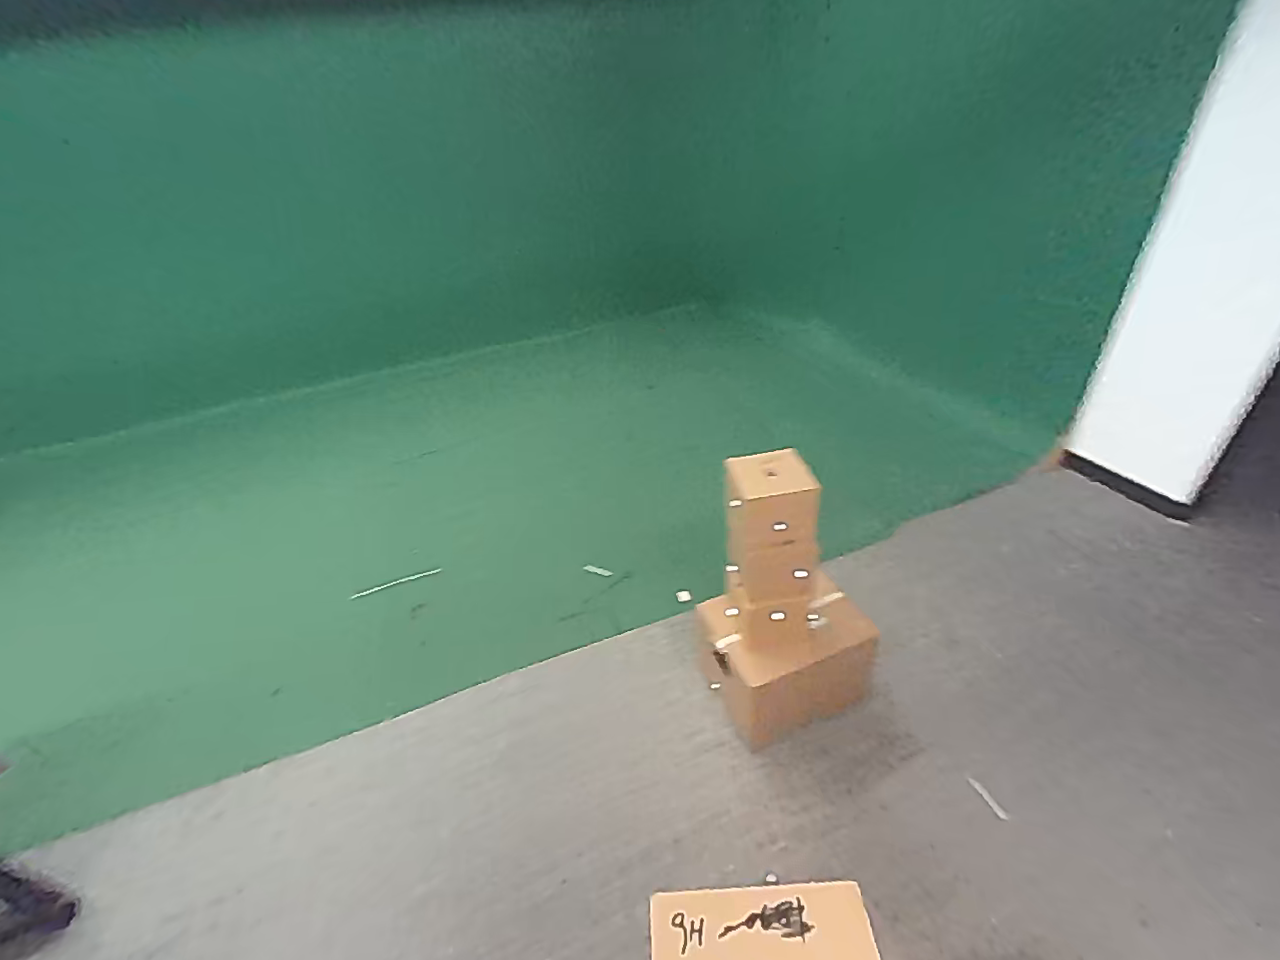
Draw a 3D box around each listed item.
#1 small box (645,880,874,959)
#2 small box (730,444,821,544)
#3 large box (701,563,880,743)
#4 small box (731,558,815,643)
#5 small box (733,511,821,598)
[{"bbox_3d":[0.094,0.437,0.409,0.168,0.176,0.179,-5,39,0],"label":"small box"},{"bbox_3d":[0.317,0.039,1.287,0.168,0.176,0.179,-9,34,-2],"label":"small box"},{"bbox_3d":[0.428,0.498,1.610,0.408,0.320,0.320,-17,37,-14],"label":"large box"},{"bbox_3d":[0.353,0.313,1.463,0.179,0.176,0.168,-11,35,-5],"label":"small box"},{"bbox_3d":[0.342,0.176,1.375,0.179,0.176,0.168,-10,34,-1],"label":"small box"}]
